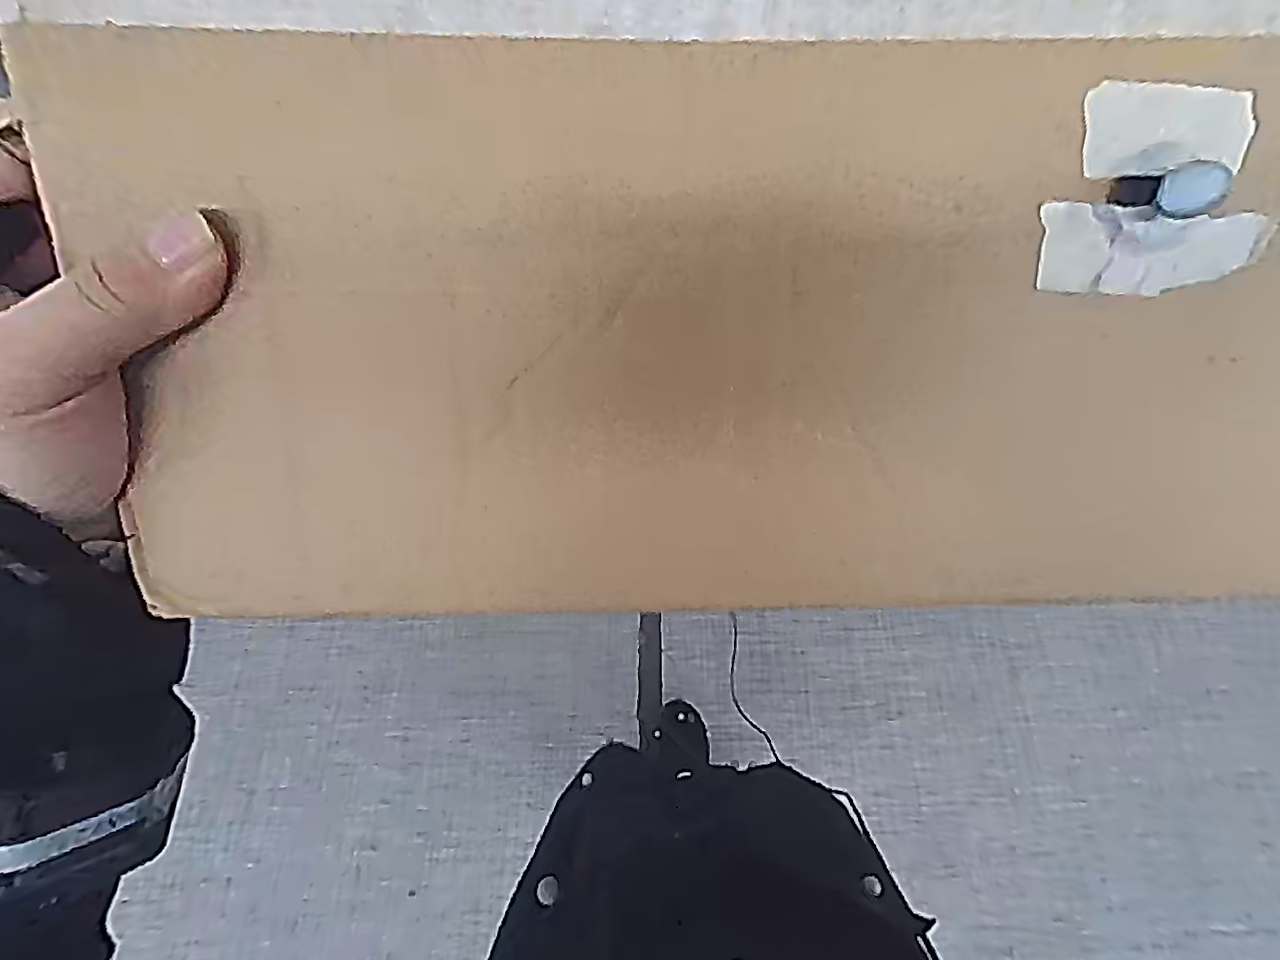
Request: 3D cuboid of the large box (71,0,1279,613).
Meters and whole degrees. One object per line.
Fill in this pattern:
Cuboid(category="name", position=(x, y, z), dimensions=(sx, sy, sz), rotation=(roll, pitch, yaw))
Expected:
Cuboid(category="large box", position=(0.051, -0.151, 0.284), dimensions=(0.408, 0.320, 0.320), rotation=(-2, 105, -3))
